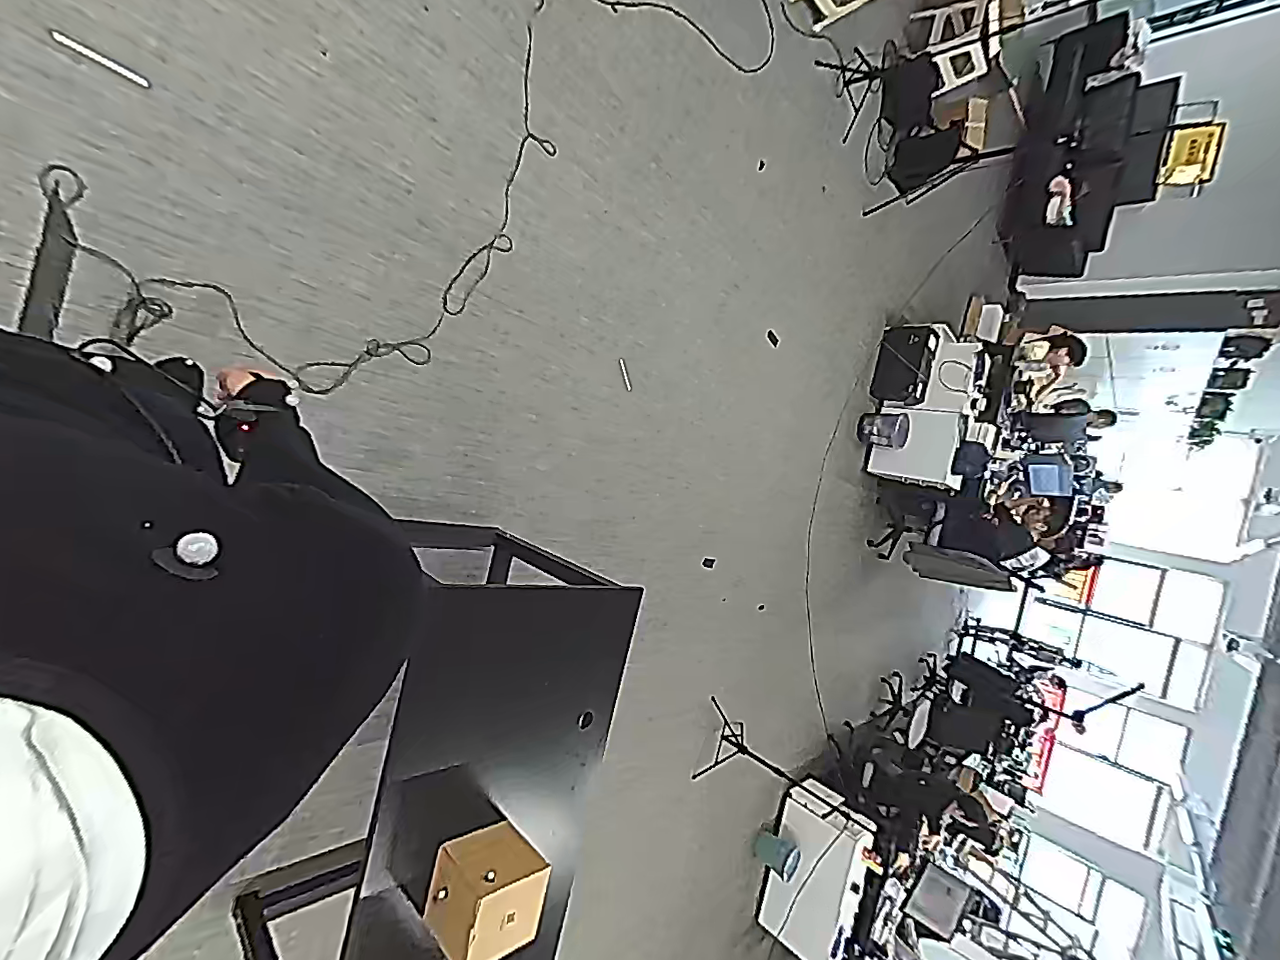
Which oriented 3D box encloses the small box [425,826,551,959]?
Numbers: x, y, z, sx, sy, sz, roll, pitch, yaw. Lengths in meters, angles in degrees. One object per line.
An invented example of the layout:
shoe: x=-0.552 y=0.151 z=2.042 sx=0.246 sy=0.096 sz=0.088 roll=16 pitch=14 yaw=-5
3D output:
small box: x=-0.321 y=0.876 z=1.143 sx=0.179 sy=0.176 sz=0.168 roll=12 pitch=91 yaw=-47
